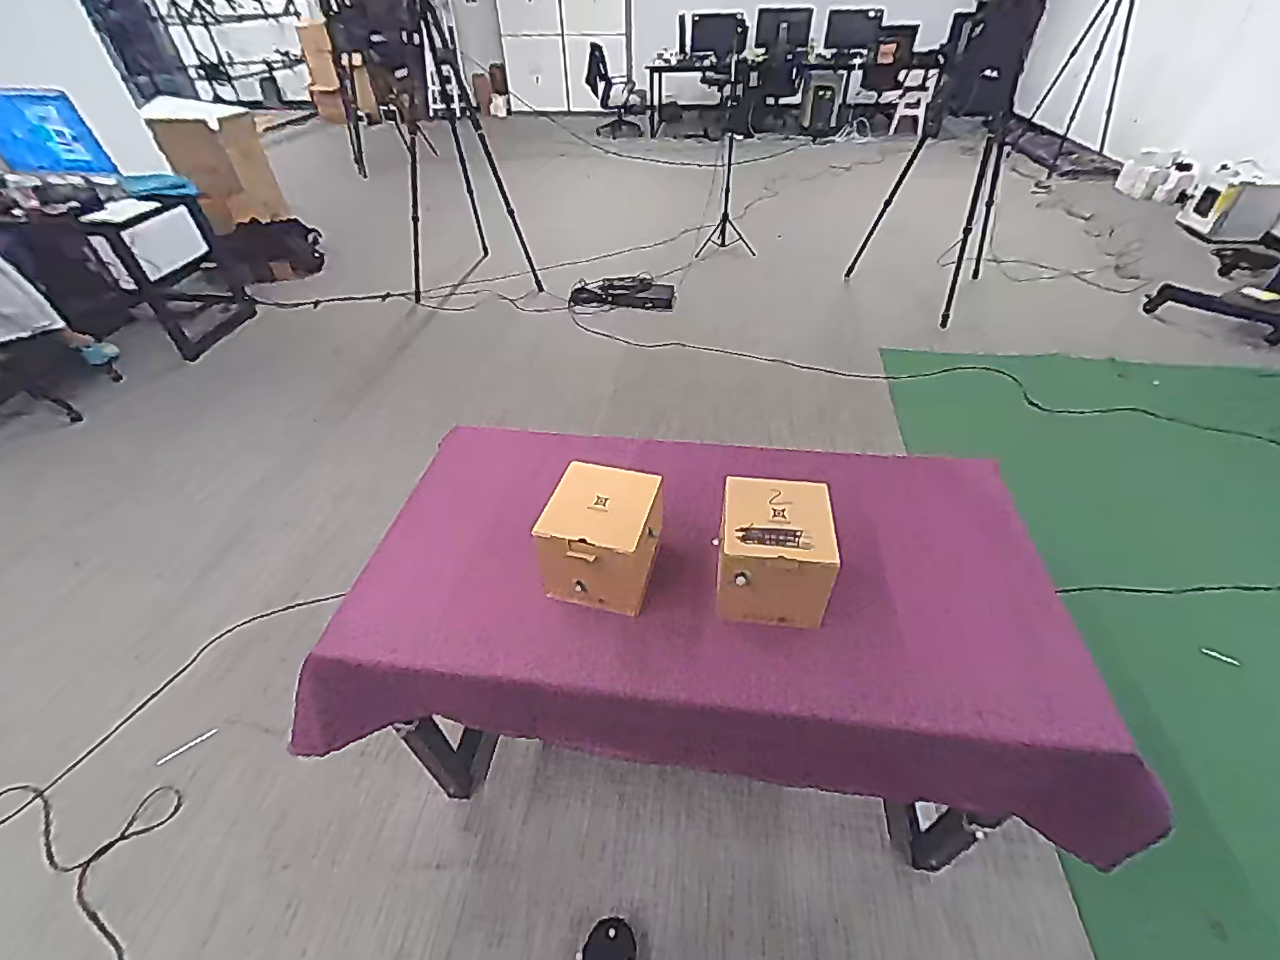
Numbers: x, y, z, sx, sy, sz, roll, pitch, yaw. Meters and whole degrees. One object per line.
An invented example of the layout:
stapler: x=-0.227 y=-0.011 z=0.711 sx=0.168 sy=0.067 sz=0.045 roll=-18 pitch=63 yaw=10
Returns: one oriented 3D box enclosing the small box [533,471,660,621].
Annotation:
small box: x=-0.067 y=0.113 z=0.936 sx=0.168 sy=0.176 sz=0.179 roll=10 pitch=44 yaw=12
